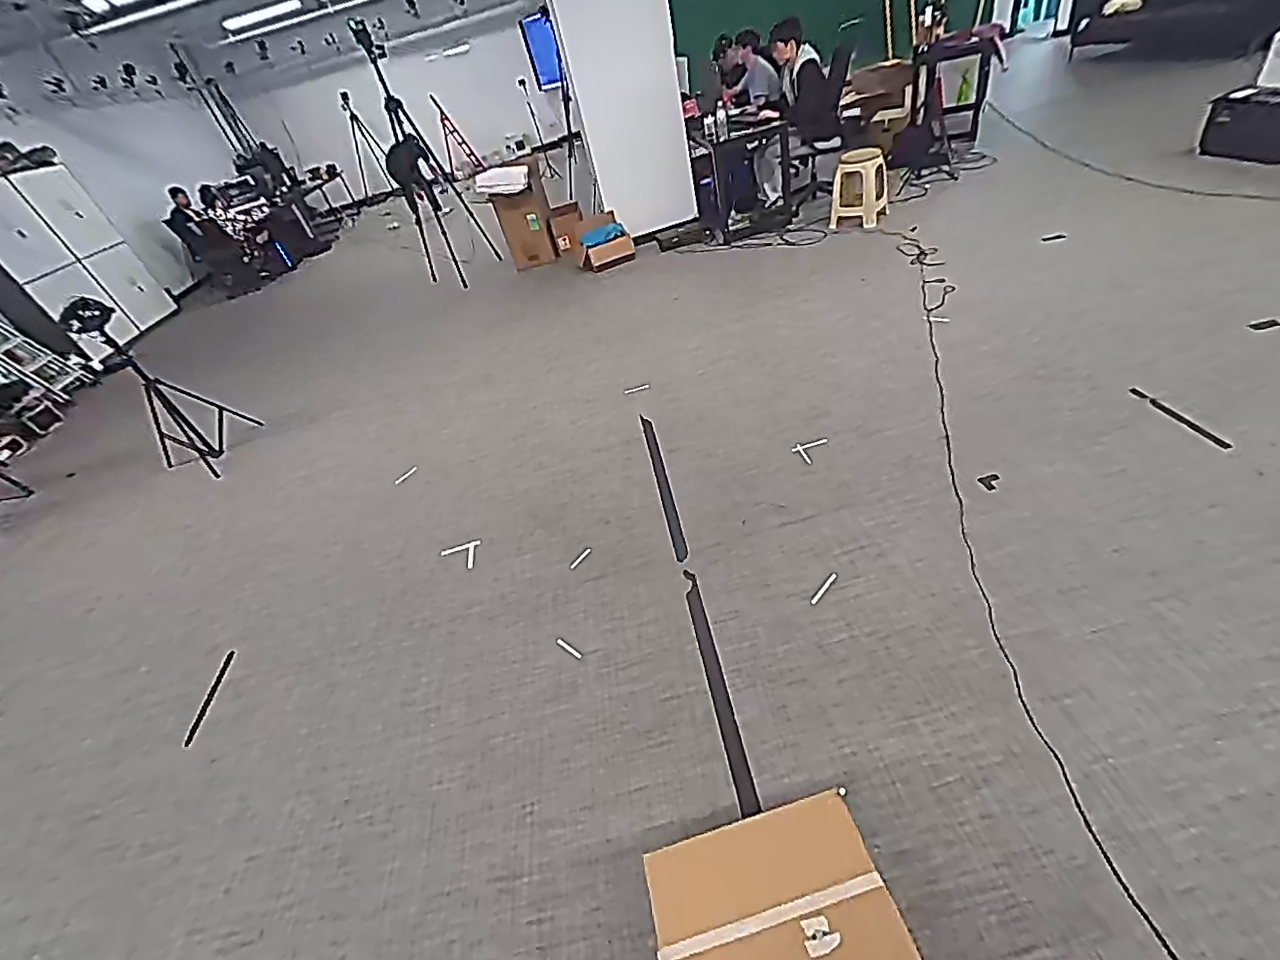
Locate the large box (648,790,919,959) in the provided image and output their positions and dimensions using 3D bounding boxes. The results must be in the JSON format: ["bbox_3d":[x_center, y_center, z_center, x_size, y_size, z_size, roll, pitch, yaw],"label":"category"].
[{"bbox_3d":[0.267,0.879,1.037,0.408,0.320,0.320,-18,38,-1],"label":"large box"}]
